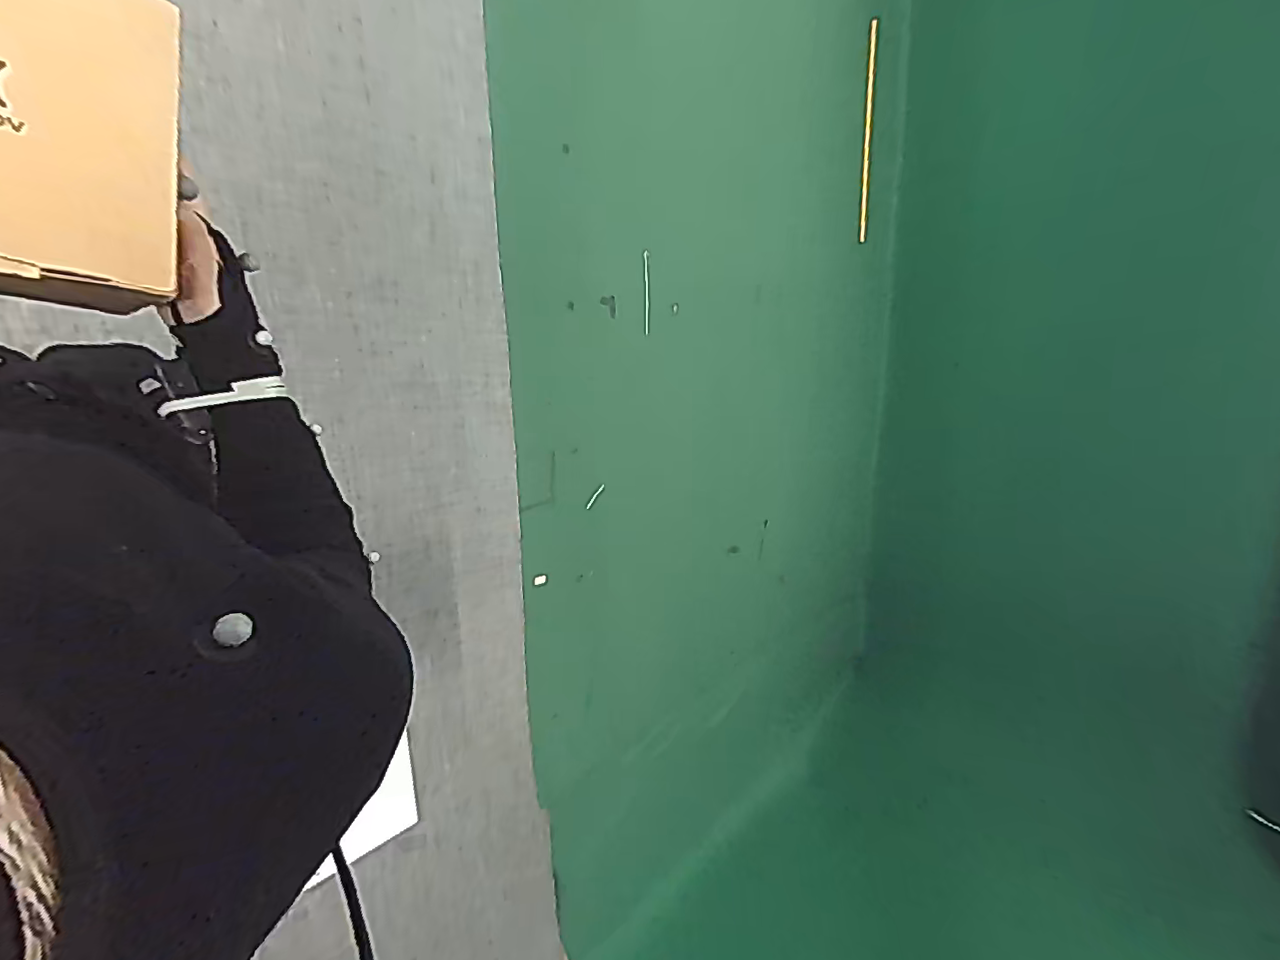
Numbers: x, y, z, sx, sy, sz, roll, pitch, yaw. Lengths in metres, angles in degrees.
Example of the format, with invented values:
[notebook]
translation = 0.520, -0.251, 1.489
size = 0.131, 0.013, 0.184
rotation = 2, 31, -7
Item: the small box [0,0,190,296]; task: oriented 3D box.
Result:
[small box]
translation = -0.396, -0.221, 0.322
size = 0.168, 0.176, 0.179
rotation = -2, 100, -52
